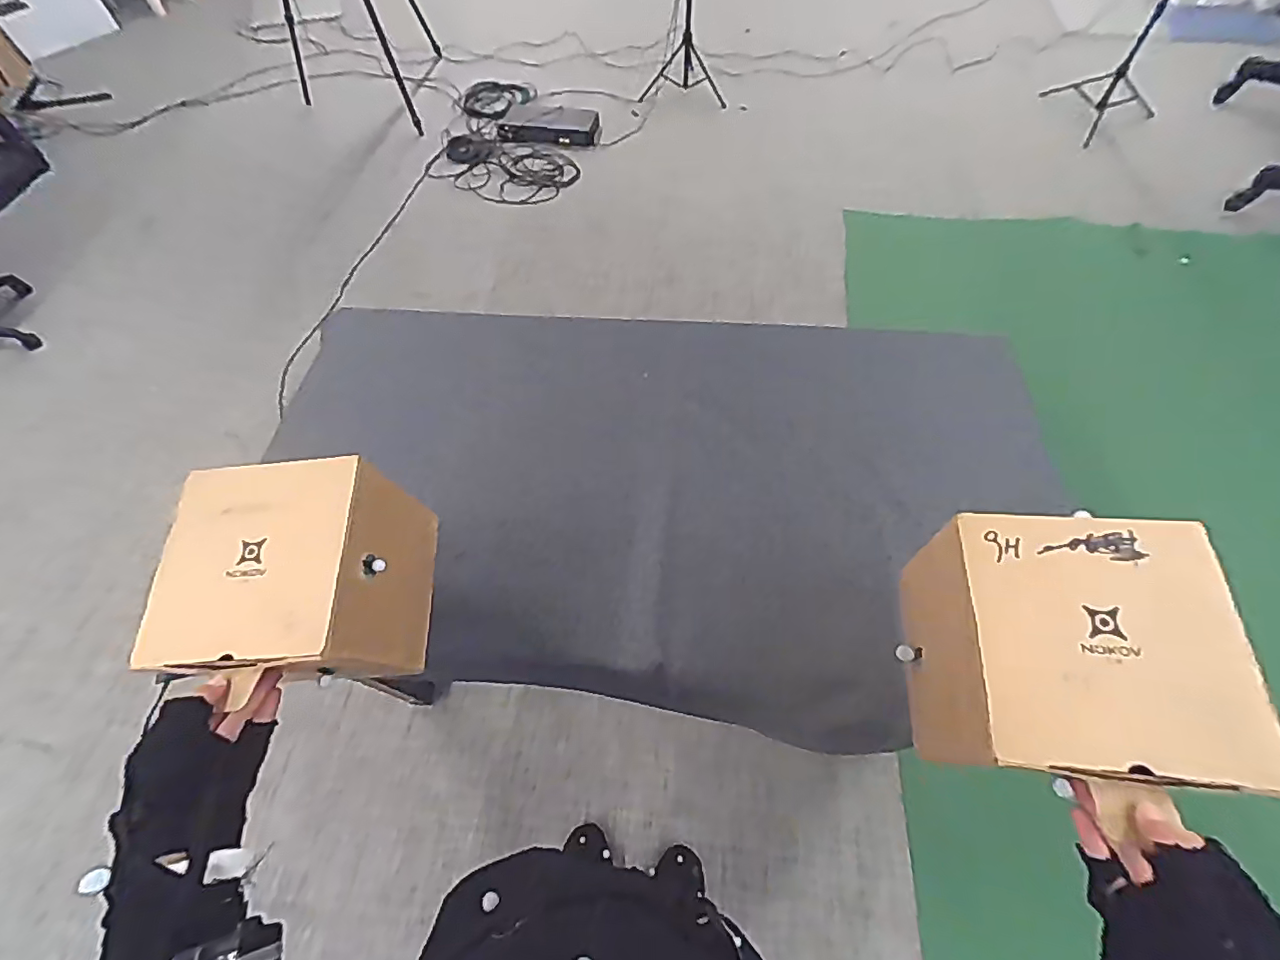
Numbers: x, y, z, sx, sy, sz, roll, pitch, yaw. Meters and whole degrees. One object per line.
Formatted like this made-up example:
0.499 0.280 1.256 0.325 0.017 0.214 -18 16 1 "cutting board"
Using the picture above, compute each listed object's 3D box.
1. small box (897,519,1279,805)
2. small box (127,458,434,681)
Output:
0.324 0.144 0.439 0.168 0.176 0.179 2 65 9 "small box"
-0.317 0.097 0.523 0.168 0.176 0.179 -5 65 3 "small box"
